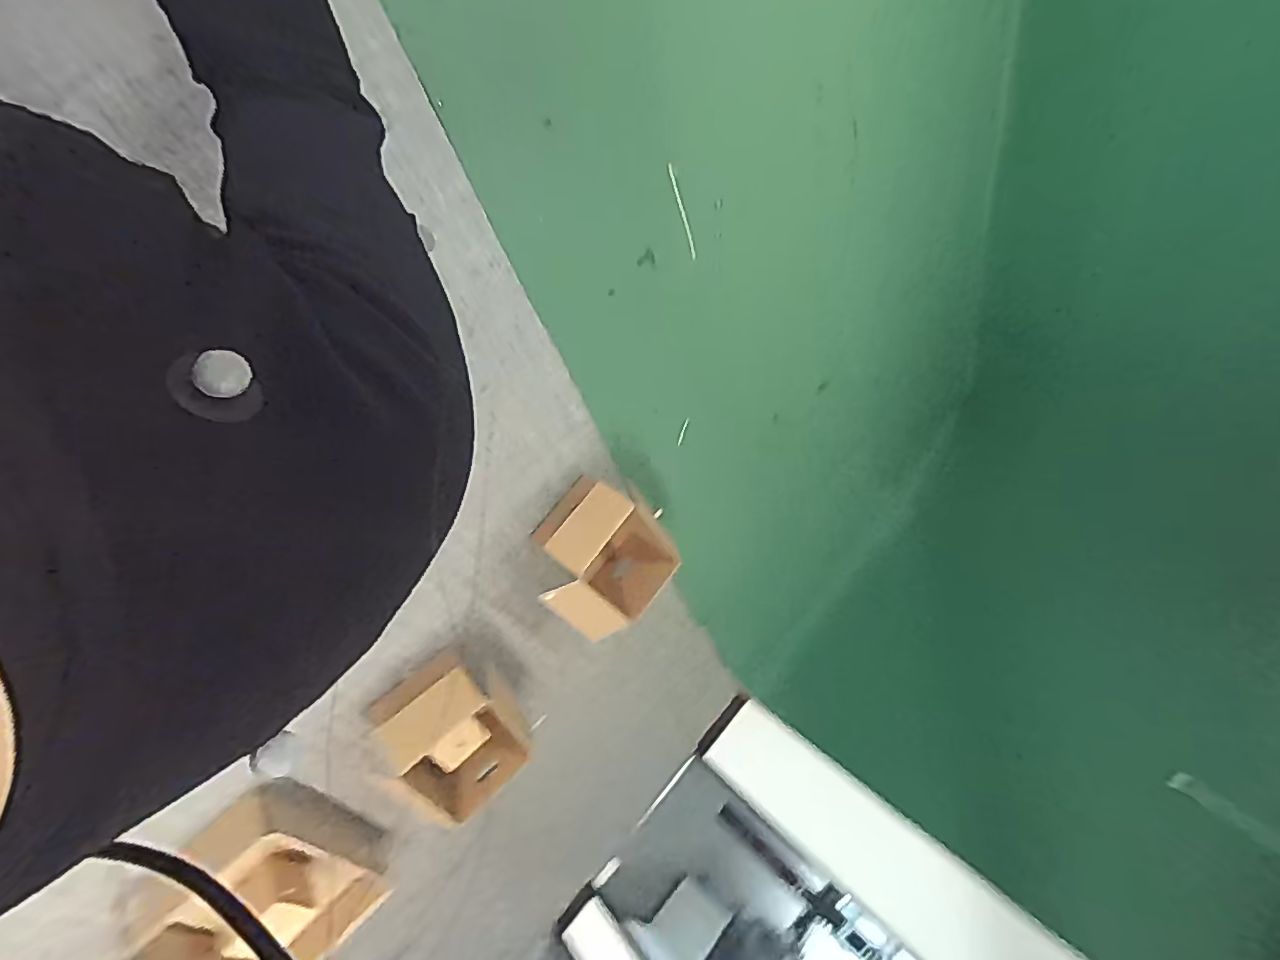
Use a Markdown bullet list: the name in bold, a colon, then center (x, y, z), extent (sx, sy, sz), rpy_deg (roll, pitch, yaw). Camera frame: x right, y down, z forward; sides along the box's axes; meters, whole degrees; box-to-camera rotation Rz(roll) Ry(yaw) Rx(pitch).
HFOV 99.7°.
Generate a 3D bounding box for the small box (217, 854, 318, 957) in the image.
- **small box**: center (-1.106, 1.259, 1.605), extent (0.168, 0.176, 0.179), rpy_deg (-43, 135, -18)
